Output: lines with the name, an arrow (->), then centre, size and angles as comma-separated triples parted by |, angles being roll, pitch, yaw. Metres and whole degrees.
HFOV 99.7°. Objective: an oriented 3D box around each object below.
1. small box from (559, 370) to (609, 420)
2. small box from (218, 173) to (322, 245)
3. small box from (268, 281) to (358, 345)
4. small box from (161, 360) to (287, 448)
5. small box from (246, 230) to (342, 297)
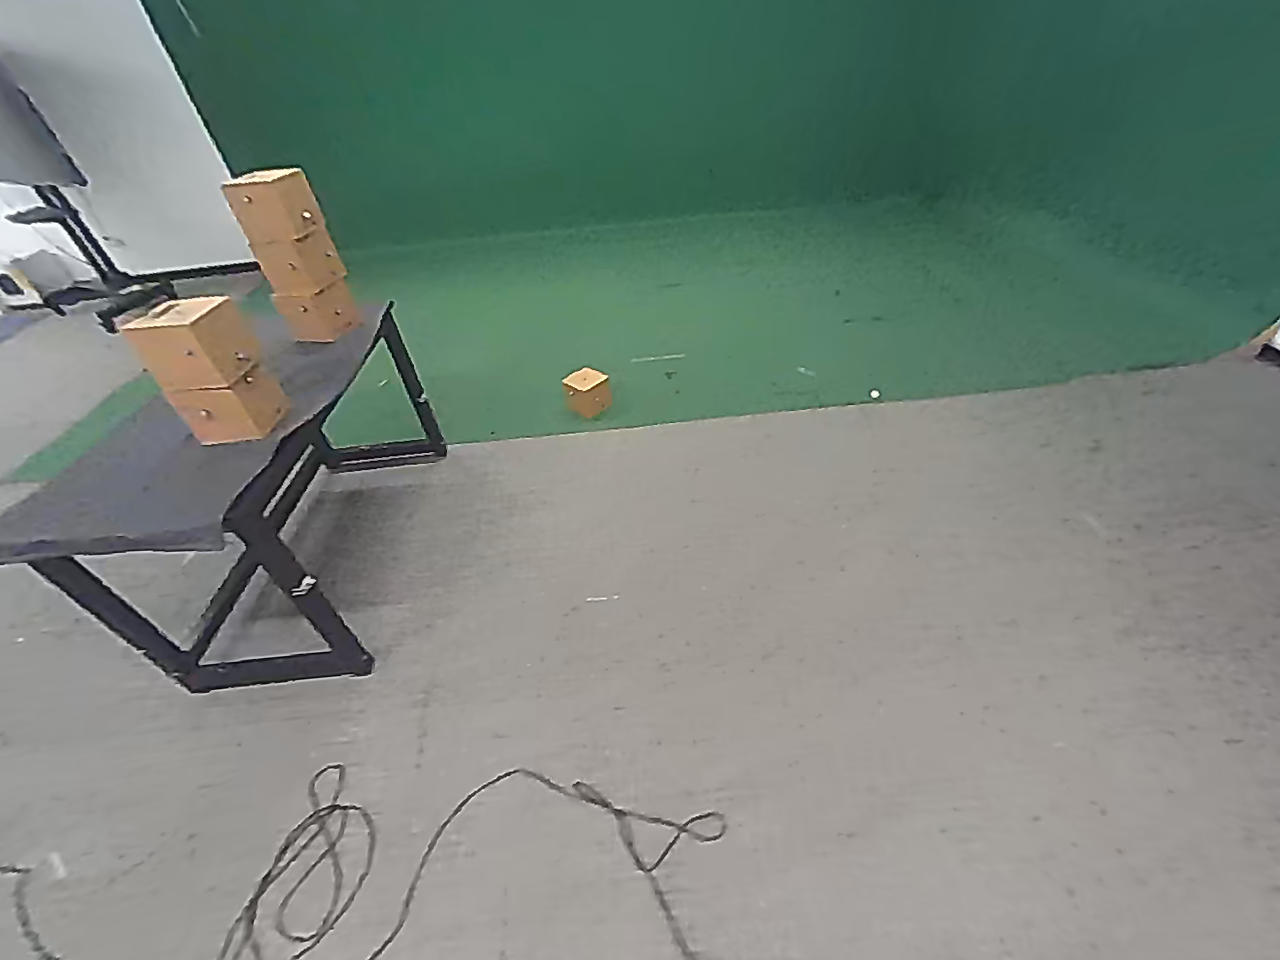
small box -> -0.277, -0.424, 2.719 | 0.179, 0.176, 0.168 | 28, 52, 34
small box -> -1.154, -0.849, 1.701 | 0.179, 0.176, 0.168 | -1, 41, 8
small box -> -1.135, -0.585, 1.894 | 0.179, 0.176, 0.168 | 6, 42, 17
small box -> -1.106, -0.202, 1.456 | 0.179, 0.176, 0.168 | -7, 41, 2
small box -> -1.143, -0.720, 1.803 | 0.179, 0.176, 0.168 | 2, 40, 14
